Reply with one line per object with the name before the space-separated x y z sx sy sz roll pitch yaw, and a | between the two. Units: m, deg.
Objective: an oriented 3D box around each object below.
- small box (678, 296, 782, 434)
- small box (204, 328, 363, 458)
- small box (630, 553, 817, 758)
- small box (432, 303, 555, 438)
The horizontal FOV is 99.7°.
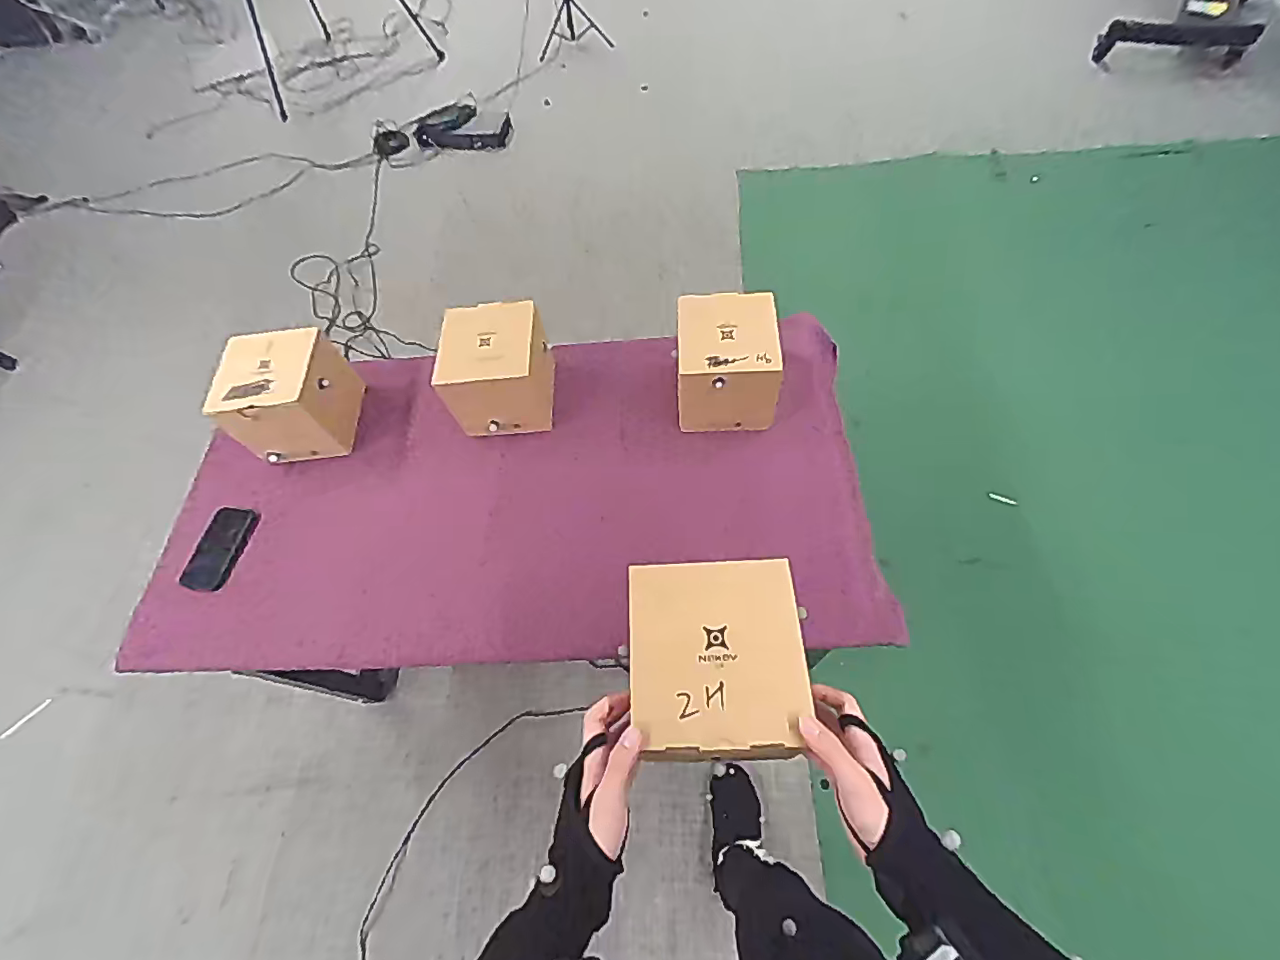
small box | 0.152 -0.201 0.961 0.168 0.176 0.179 -1 60 6
small box | -0.644 -0.153 1.005 0.168 0.176 0.179 -6 60 1
small box | 0.078 0.193 0.581 0.168 0.176 0.179 -3 59 4
small box | -0.258 -0.198 0.998 0.168 0.176 0.179 -4 61 4
